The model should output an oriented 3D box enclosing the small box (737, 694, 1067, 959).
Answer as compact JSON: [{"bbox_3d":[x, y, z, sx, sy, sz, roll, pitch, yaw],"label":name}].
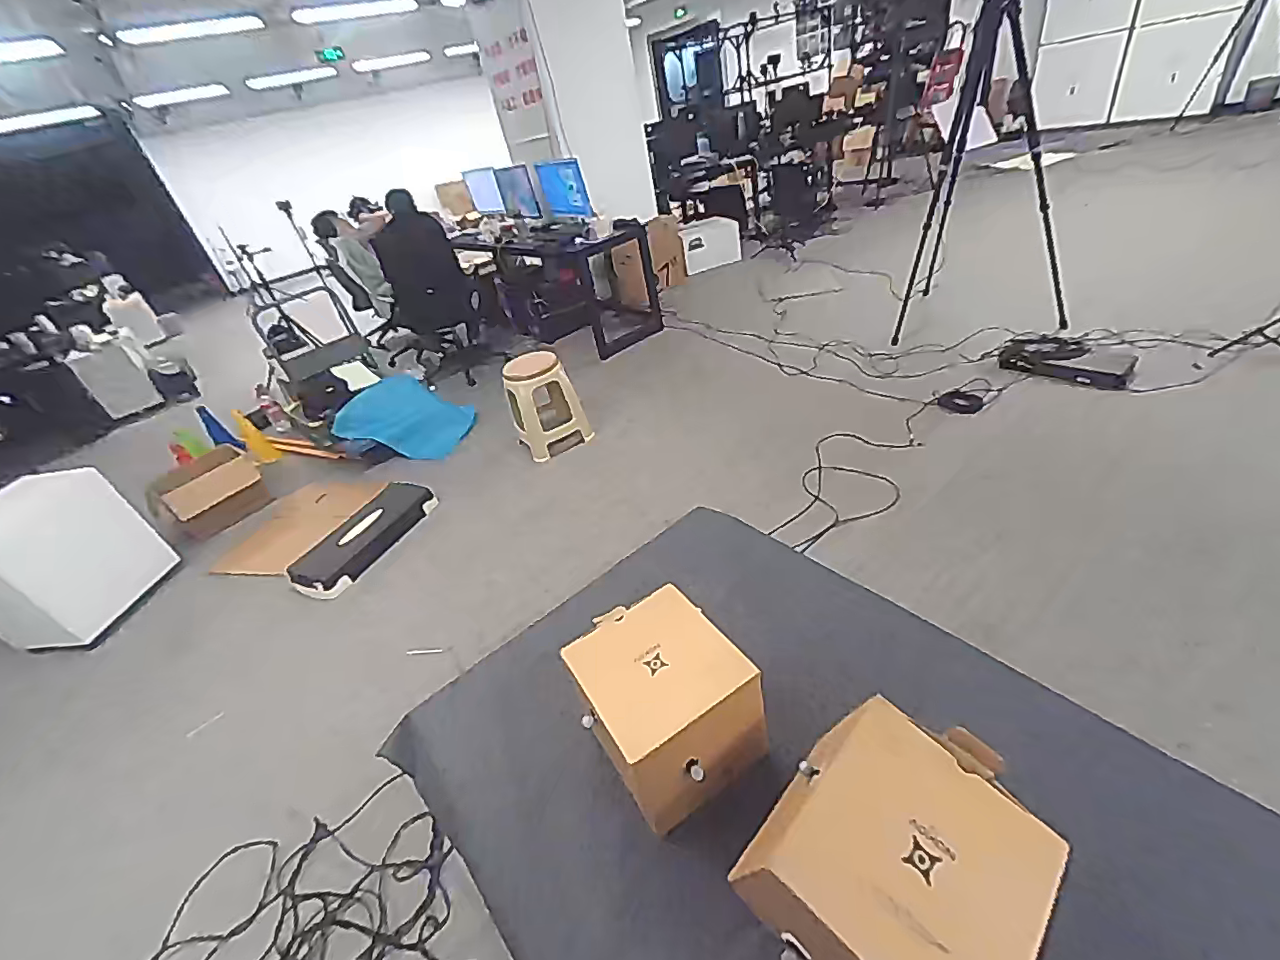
[{"bbox_3d":[0.205,0.327,0.462,0.168,0.176,0.179,37,56,23],"label":"small box"}]

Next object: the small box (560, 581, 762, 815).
[{"bbox_3d":[0.030,0.264,0.652,0.168,0.176,0.179,-27,36,-20],"label":"small box"}]
